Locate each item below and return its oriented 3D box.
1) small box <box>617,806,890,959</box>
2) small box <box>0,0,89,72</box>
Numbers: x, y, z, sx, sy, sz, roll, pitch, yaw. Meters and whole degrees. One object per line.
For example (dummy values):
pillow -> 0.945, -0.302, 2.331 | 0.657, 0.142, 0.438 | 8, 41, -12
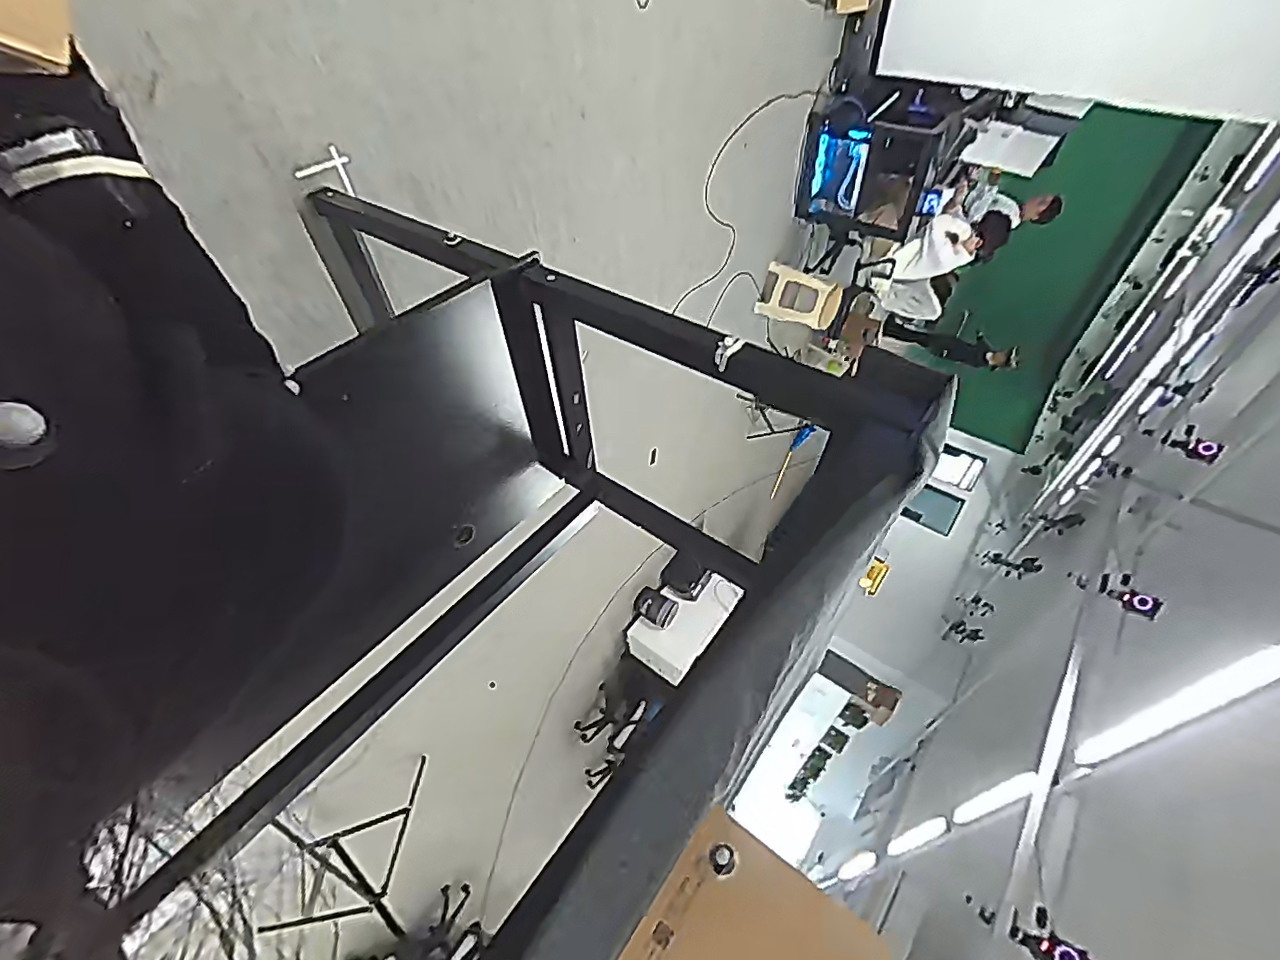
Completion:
small box -> 0.084, 0.427, 0.478 | 0.168, 0.176, 0.179 | -44, 152, -30
small box -> -0.335, -0.278, 0.183 | 0.168, 0.176, 0.179 | -19, 125, -62
